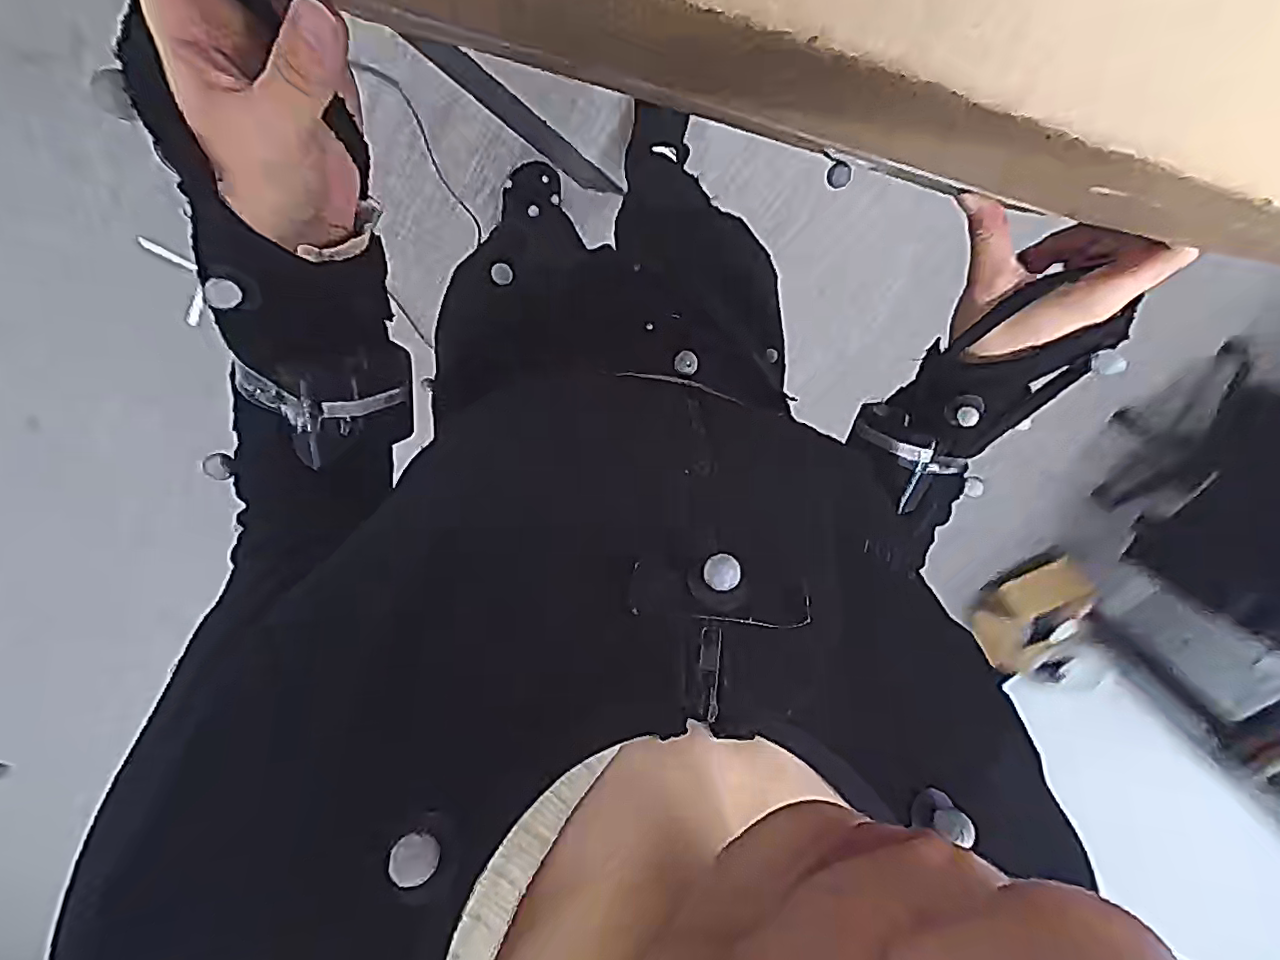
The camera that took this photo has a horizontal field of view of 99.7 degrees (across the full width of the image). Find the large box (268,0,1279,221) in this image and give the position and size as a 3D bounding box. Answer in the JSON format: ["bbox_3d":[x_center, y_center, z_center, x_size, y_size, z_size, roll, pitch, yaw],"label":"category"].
[{"bbox_3d":[0.067,-0.288,0.145,0.408,0.320,0.320,5,124,-12],"label":"large box"}]
